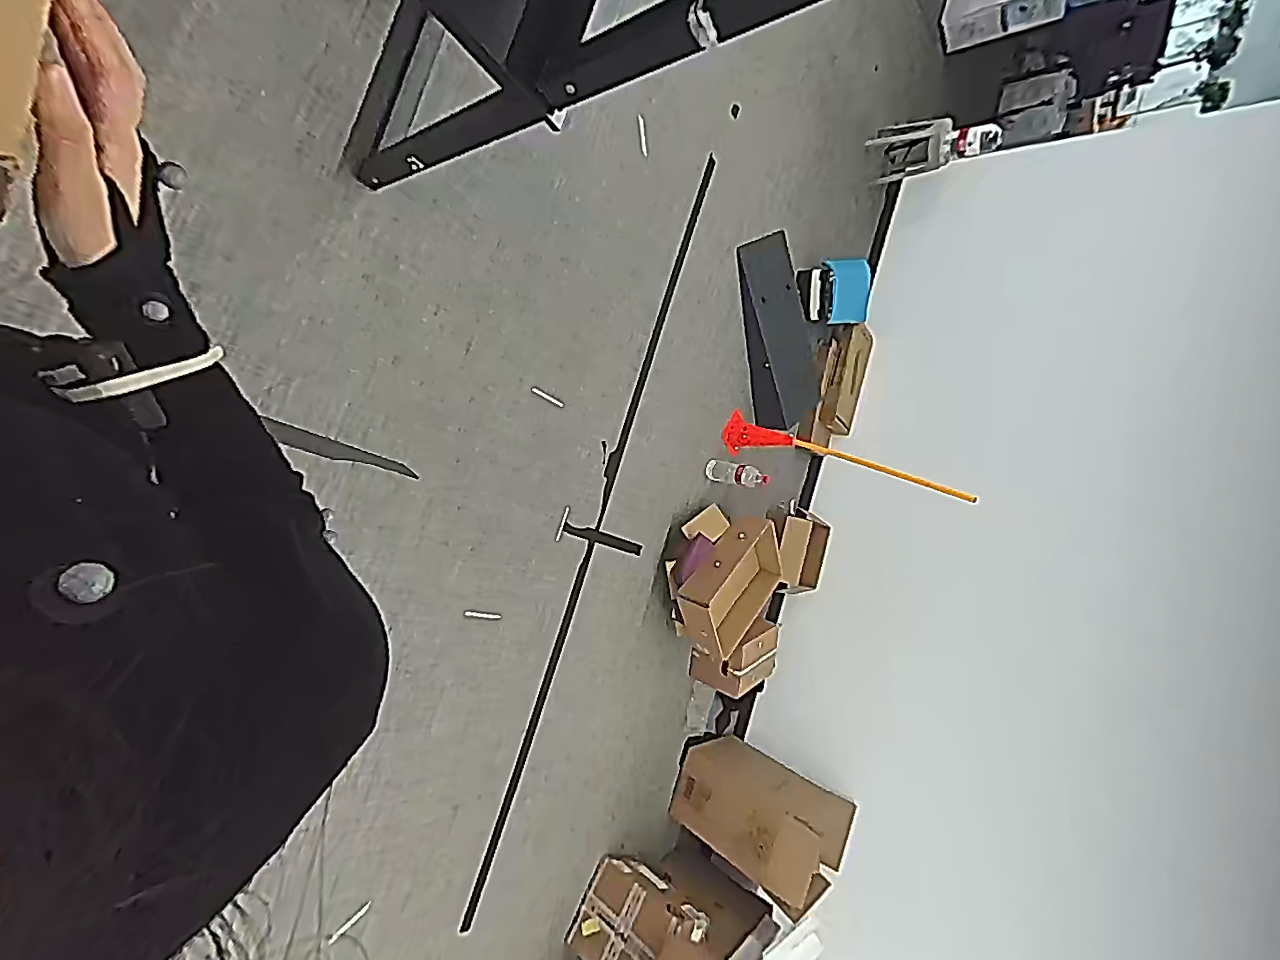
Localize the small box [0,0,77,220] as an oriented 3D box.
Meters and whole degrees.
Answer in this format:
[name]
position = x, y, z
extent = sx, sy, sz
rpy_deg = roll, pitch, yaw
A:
[small box]
position = -0.343, -0.230, 0.207
extent = 0.168, 0.176, 0.179
rpy_deg = 11, 90, -52
